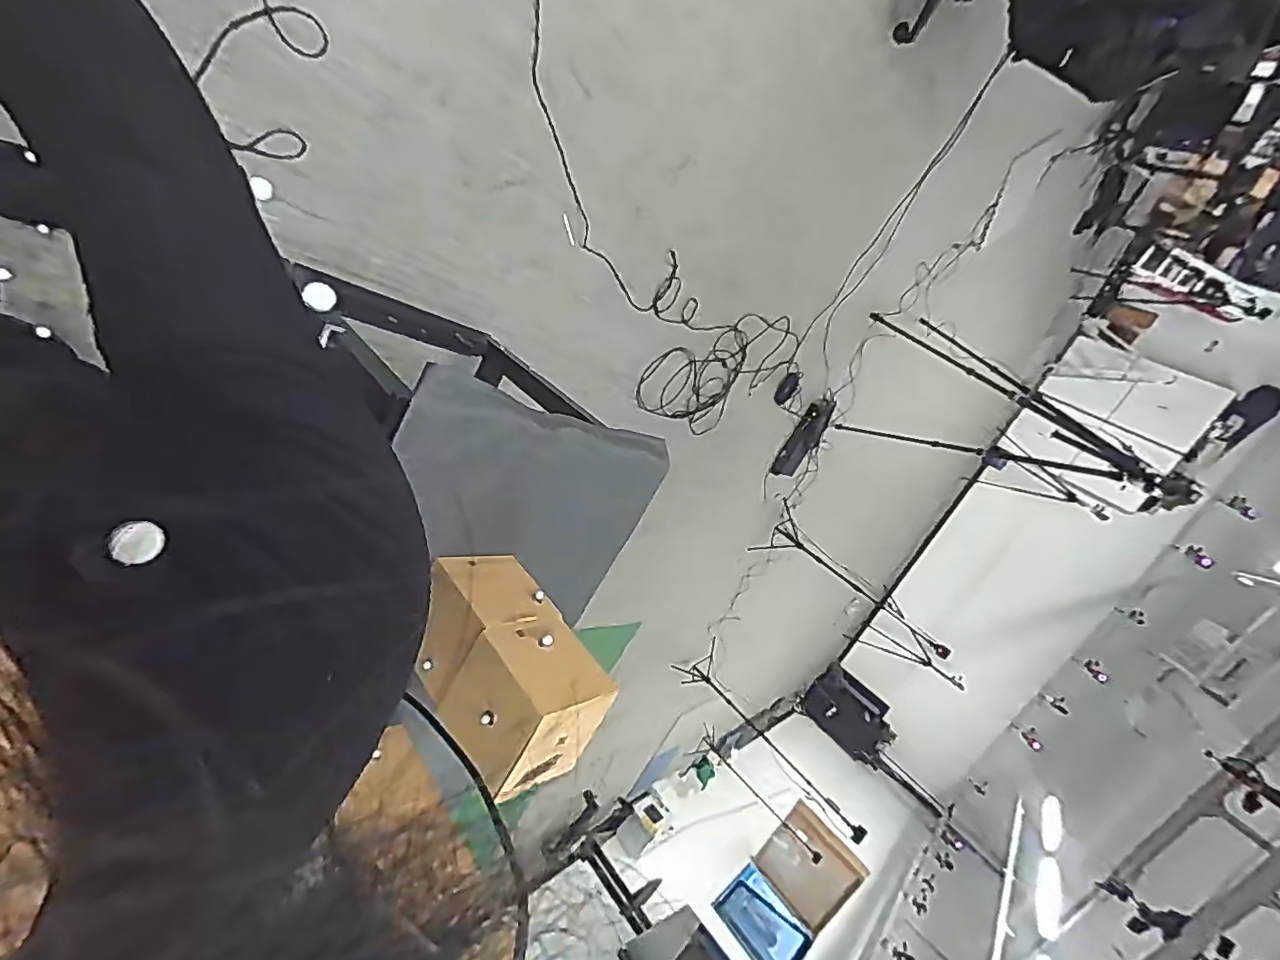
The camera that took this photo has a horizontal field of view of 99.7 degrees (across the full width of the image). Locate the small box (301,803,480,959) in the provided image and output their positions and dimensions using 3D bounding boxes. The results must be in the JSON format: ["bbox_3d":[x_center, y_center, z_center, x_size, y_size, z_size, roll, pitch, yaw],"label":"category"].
[{"bbox_3d":[-0.403,0.665,0.873,0.179,0.176,0.168,19,105,-55],"label":"small box"}]

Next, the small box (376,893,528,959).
[{"bbox_3d":[-0.293,0.753,0.787,0.179,0.176,0.168,-58,147,7],"label":"small box"}]

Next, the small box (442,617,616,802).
[{"bbox_3d":[-0.175,0.336,0.826,0.168,0.176,0.179,9,115,-53],"label":"small box"}]

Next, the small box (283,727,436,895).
[{"bbox_3d":[-0.506,0.582,0.966,0.168,0.176,0.179,15,110,-56],"label":"small box"}]
